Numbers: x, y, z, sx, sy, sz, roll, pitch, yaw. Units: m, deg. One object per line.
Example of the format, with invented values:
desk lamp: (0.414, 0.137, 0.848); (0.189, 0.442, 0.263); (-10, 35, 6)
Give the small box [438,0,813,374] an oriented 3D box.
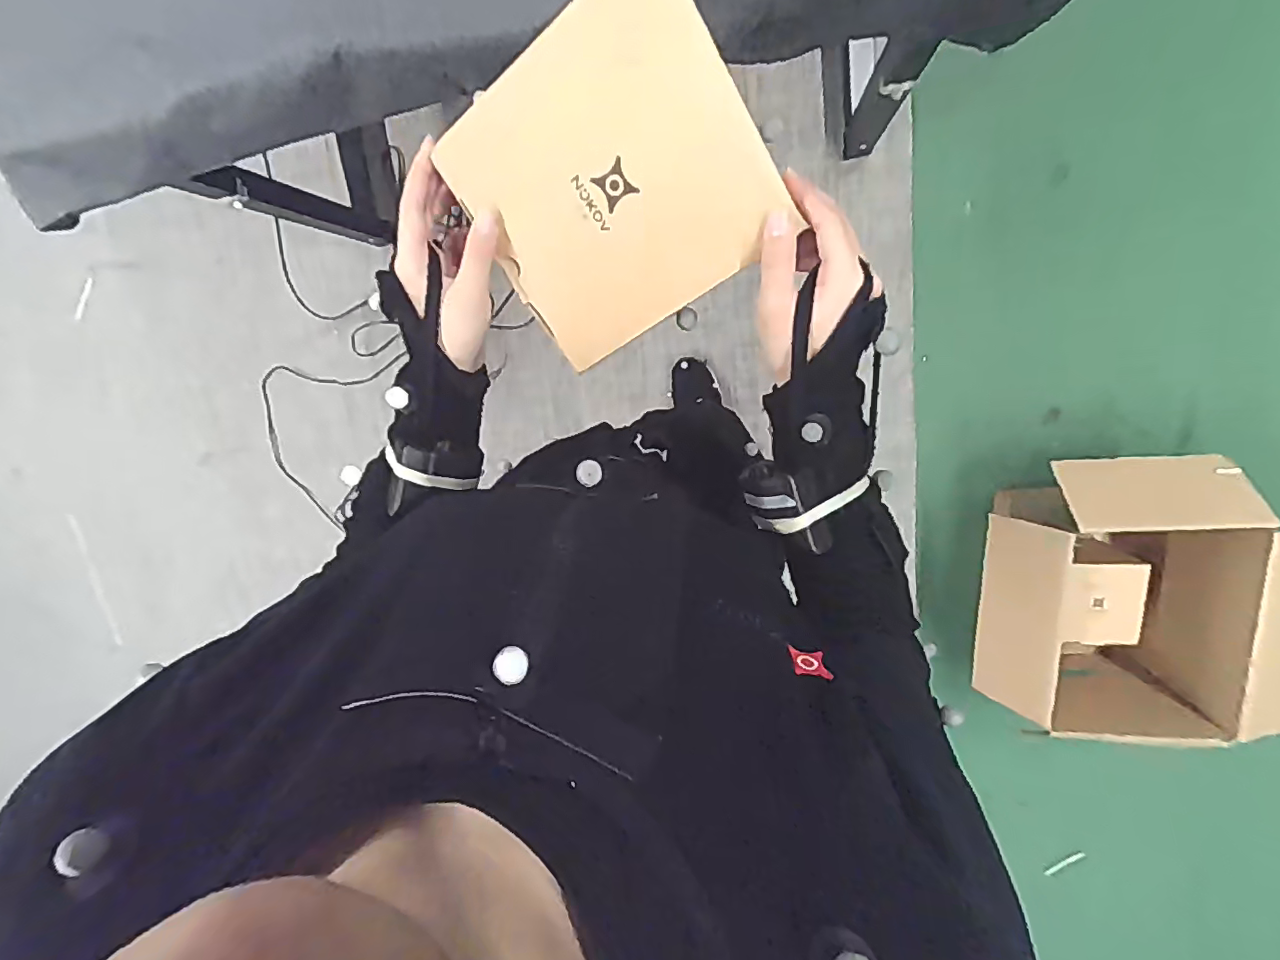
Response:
small box: (0.004, -0.209, 0.388); (0.179, 0.176, 0.168); (-27, 108, 26)
